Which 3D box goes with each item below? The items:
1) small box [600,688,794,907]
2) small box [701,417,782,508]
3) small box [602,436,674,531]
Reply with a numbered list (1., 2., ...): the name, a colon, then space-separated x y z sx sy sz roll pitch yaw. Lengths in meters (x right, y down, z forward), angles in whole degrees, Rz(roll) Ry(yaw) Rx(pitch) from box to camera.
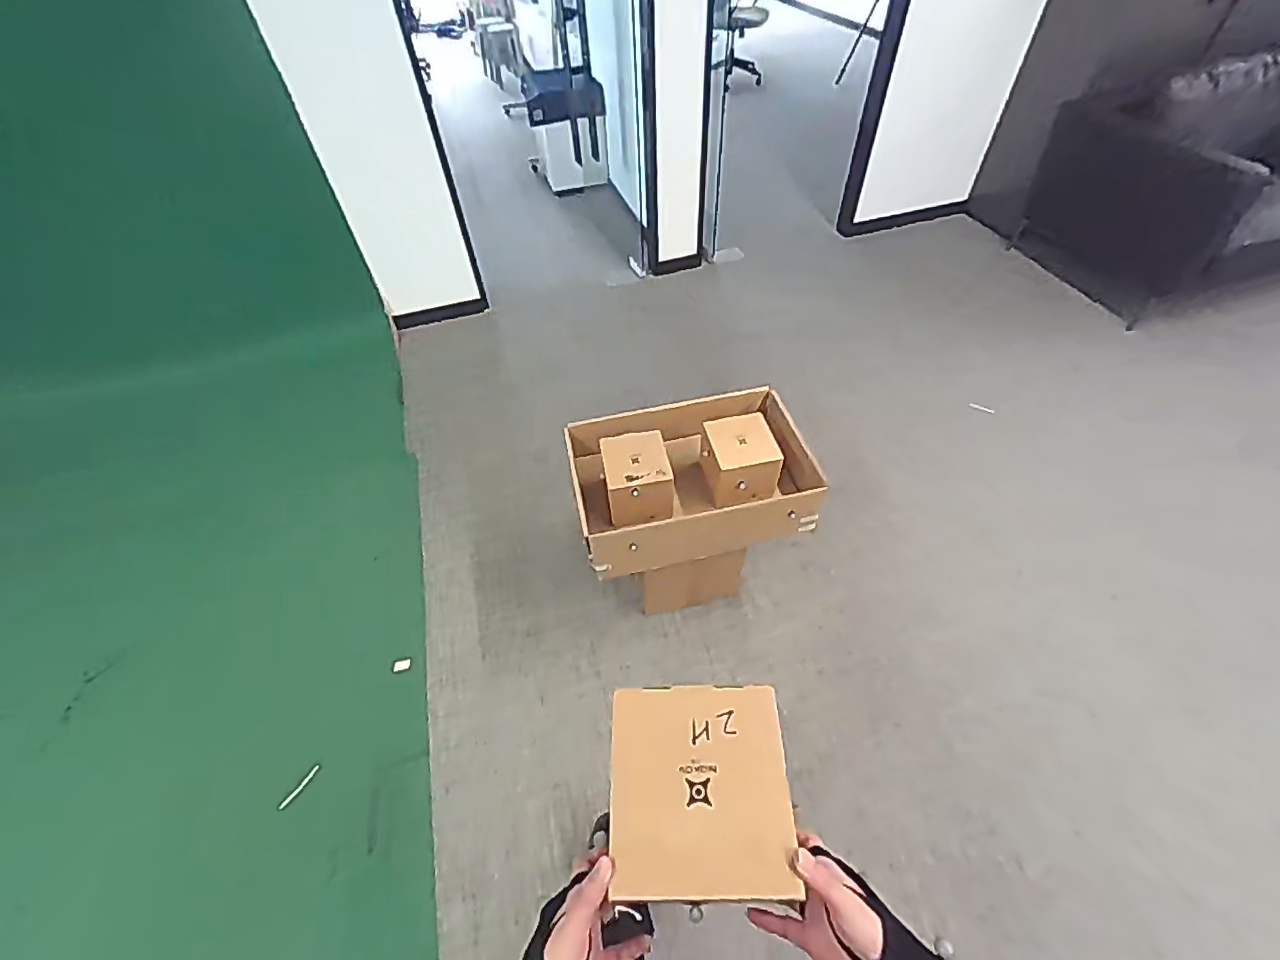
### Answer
1. small box: 0.053 0.332 0.563 0.168 0.176 0.179 -1 51 2
2. small box: 0.267 -0.039 1.459 0.168 0.176 0.179 -11 50 -5
3. small box: -0.007 0.010 1.433 0.168 0.176 0.179 -9 49 -4
